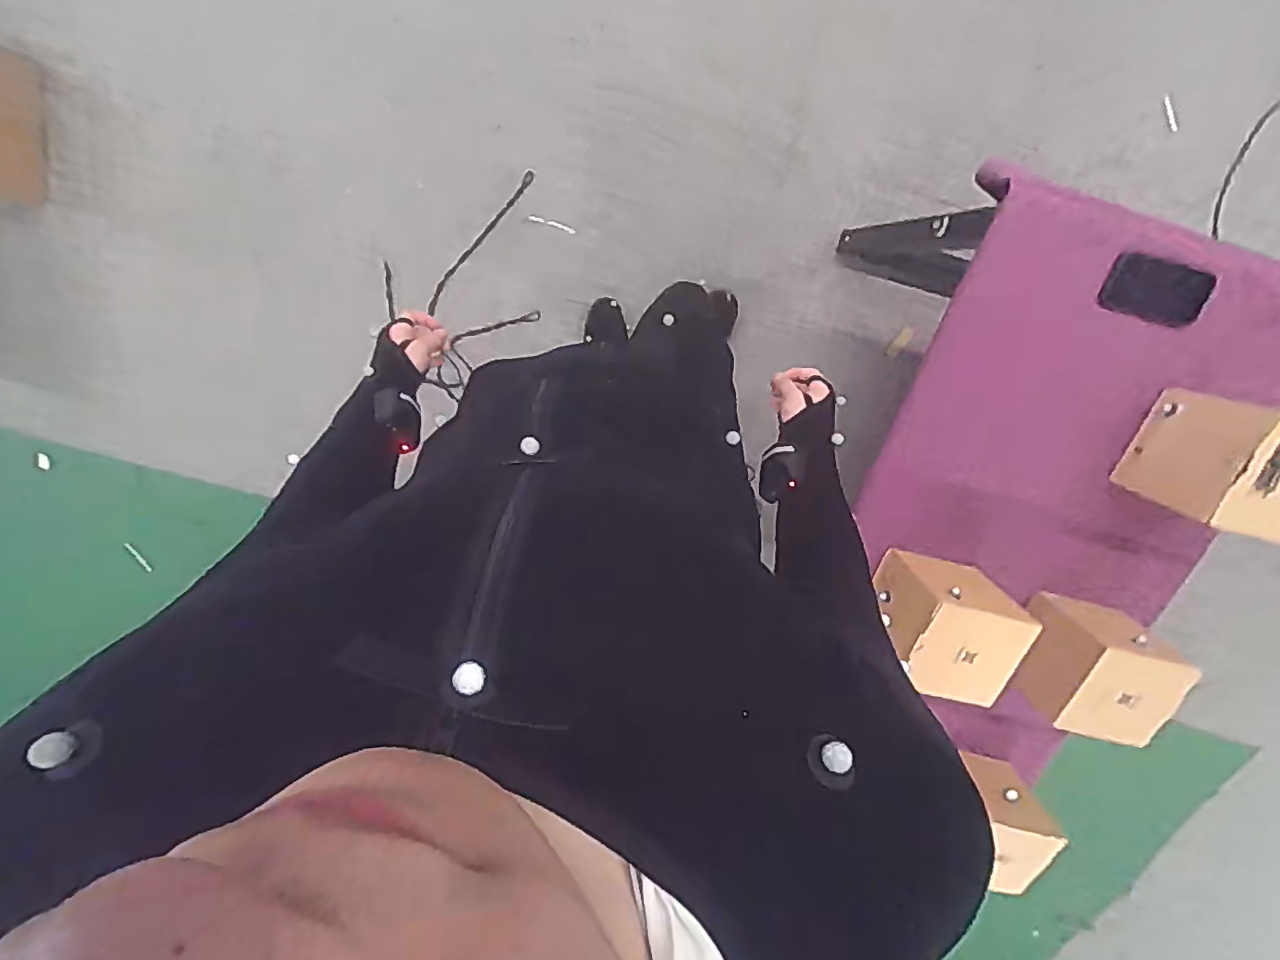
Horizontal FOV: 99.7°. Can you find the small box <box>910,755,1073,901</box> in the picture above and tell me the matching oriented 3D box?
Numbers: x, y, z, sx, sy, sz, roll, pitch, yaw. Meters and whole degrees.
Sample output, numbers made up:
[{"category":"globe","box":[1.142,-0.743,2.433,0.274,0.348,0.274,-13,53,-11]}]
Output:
[{"category":"small box","box":[0.673,0.676,1.063,0.179,0.176,0.168,16,110,-6]}]

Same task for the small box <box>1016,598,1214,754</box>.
[{"category":"small box","box":[0.783,0.327,0.927,0.179,0.176,0.168,16,110,-5]}]

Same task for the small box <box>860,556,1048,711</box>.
[{"category":"small box","box":[0.503,0.246,0.896,0.179,0.176,0.168,14,111,-6]}]

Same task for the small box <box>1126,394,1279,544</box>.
[{"category":"small box","box":[0.885,-0.017,0.788,0.179,0.176,0.168,14,111,-5]}]
